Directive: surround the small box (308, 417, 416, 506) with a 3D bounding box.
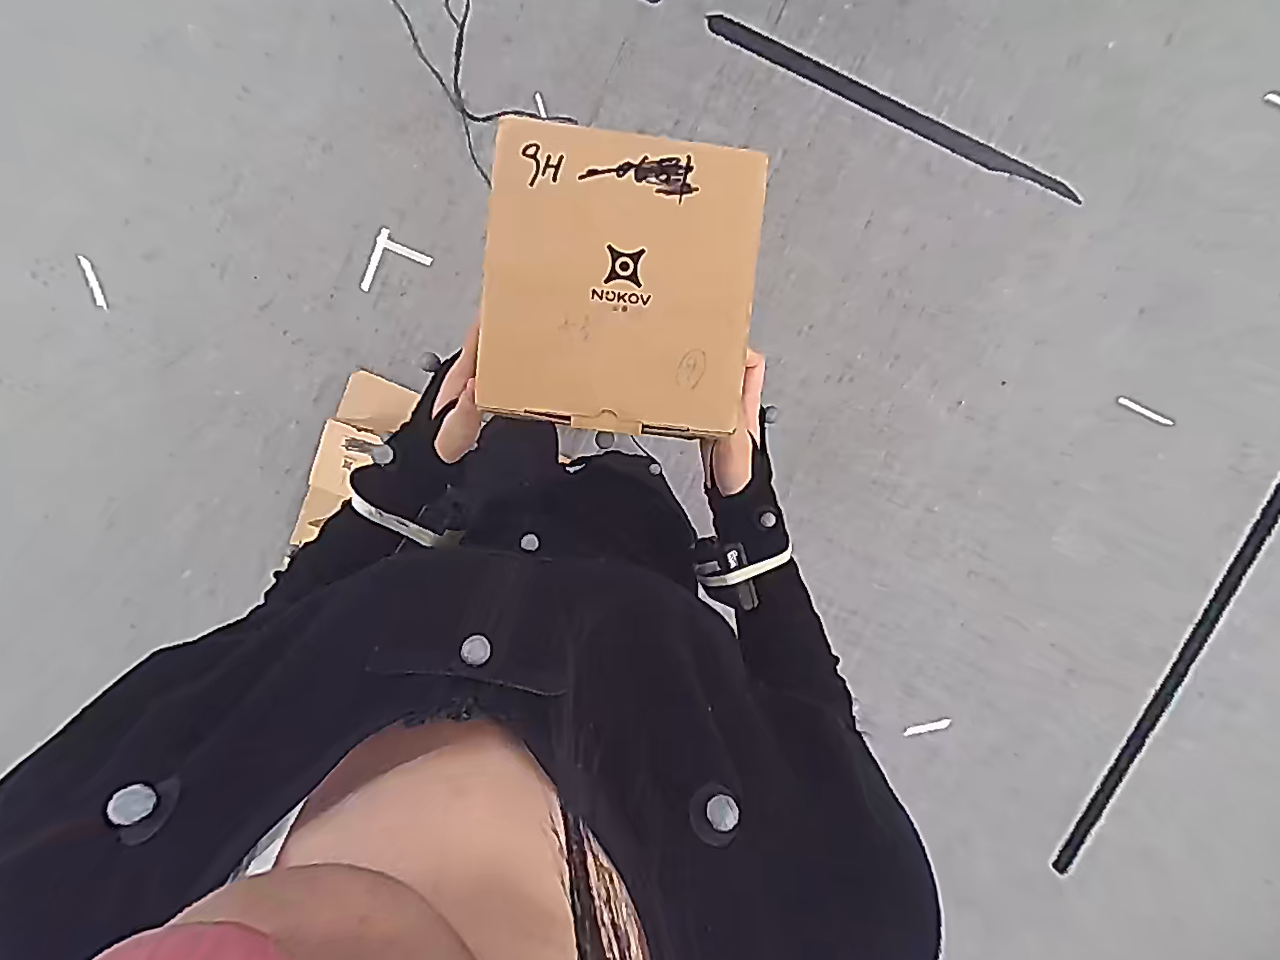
[{"bbox_3d":[-0.704,-0.051,1.393,0.168,0.176,0.179,20,95,0],"label":"small box"}]

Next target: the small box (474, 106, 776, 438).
[{"bbox_3d":[-0.014,-0.128,0.402,0.168,0.176,0.179,6,94,-5],"label":"small box"}]

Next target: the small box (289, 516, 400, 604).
[{"bbox_3d":[-0.767,0.201,1.419,0.179,0.176,0.168,18,96,-1],"label":"small box"}]
